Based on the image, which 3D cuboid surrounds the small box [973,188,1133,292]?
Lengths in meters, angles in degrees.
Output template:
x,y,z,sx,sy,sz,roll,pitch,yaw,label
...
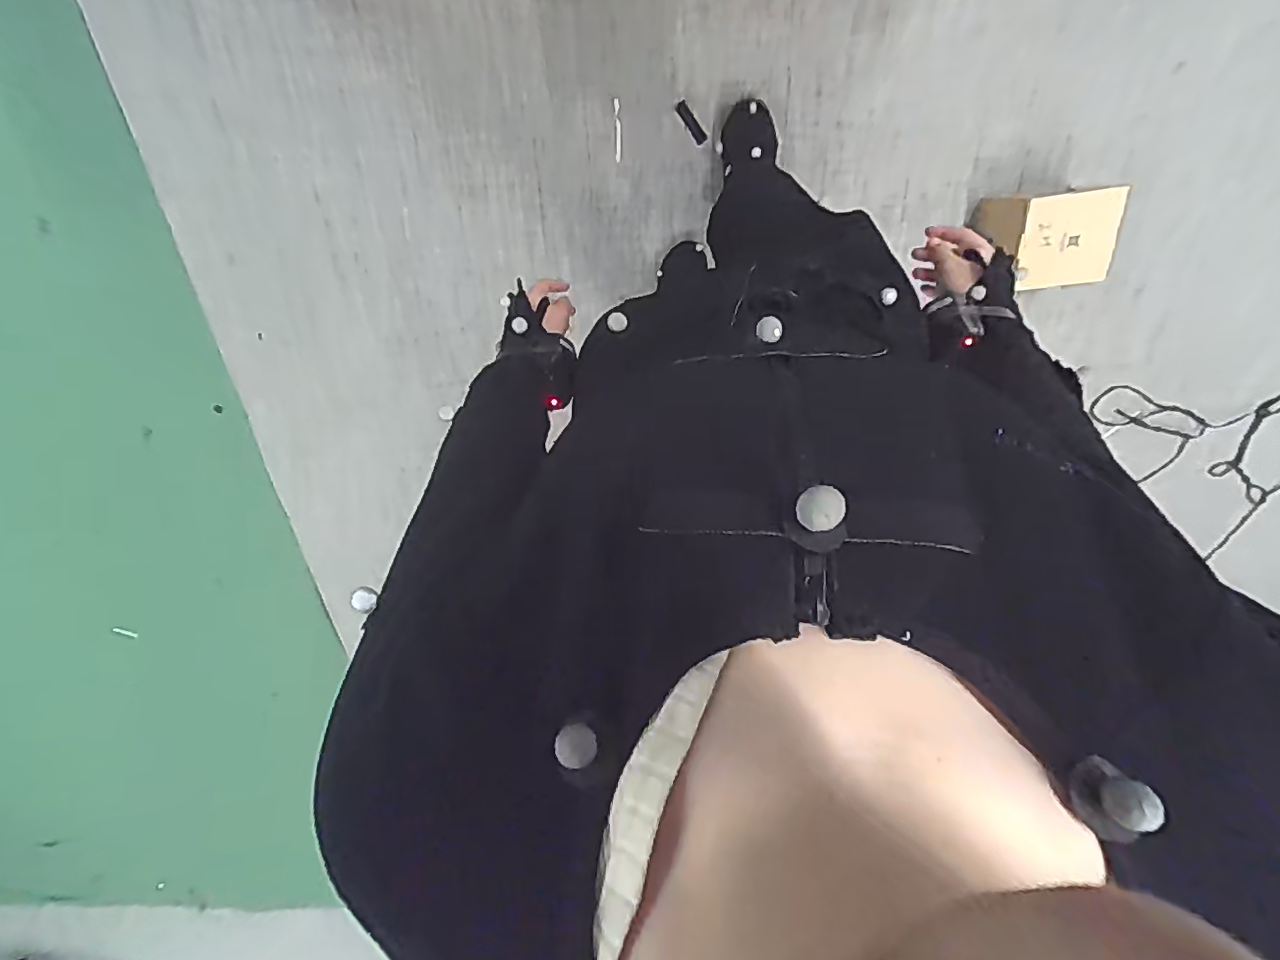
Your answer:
x,y,z,sx,sy,sz,roll,pitch,yaw,label
0.811,-0.484,1.083,0.179,0.176,0.168,-5,117,5,small box
